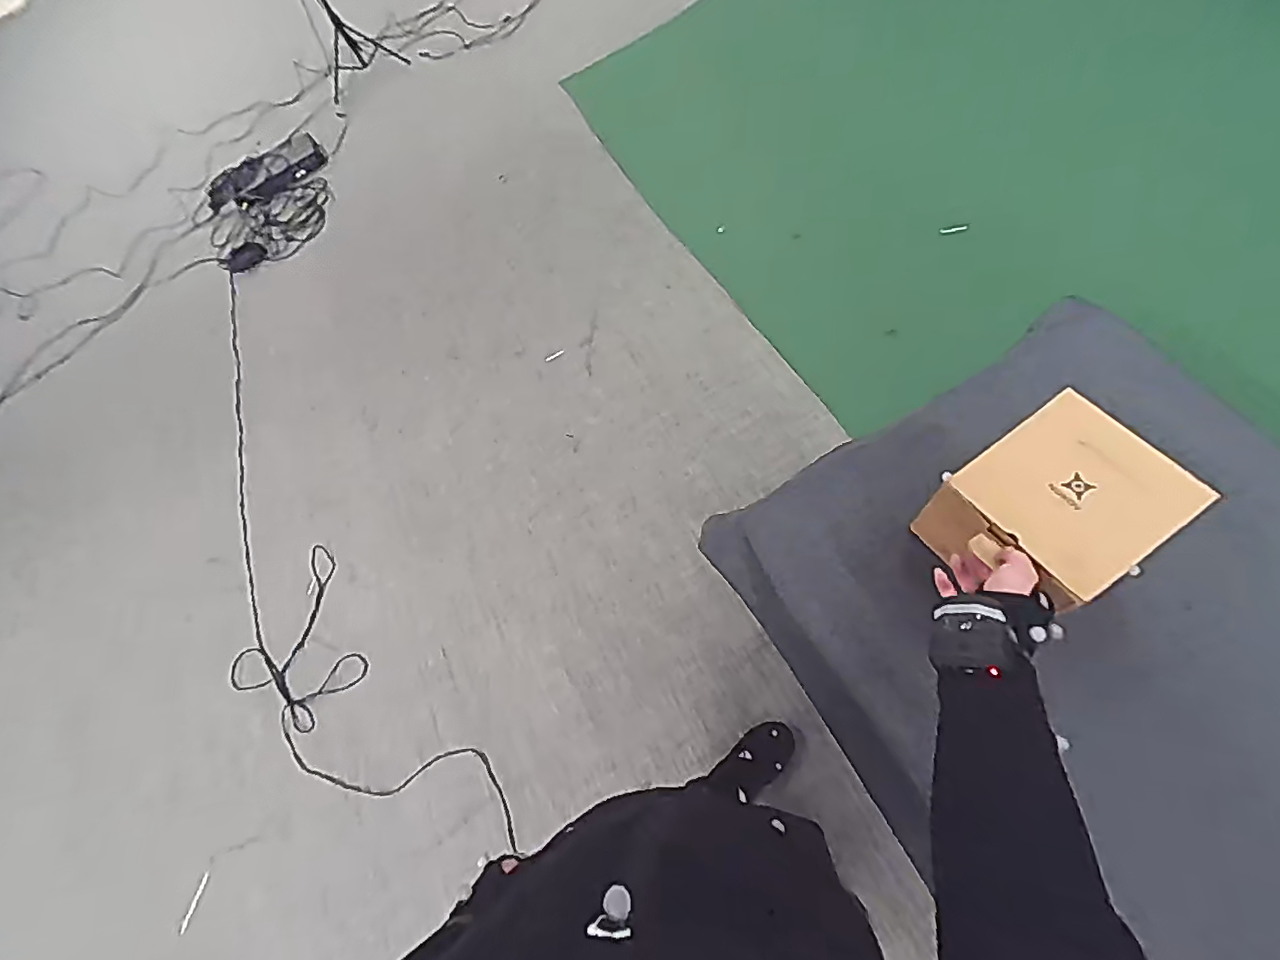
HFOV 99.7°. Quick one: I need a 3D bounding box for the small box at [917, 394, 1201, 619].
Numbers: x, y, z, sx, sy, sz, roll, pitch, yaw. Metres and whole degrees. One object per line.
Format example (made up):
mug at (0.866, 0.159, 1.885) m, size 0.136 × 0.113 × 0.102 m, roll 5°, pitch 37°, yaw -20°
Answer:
small box at (0.454, 0.041, 0.629) m, size 0.179 × 0.176 × 0.168 m, roll -36°, pitch 66°, yaw -5°
